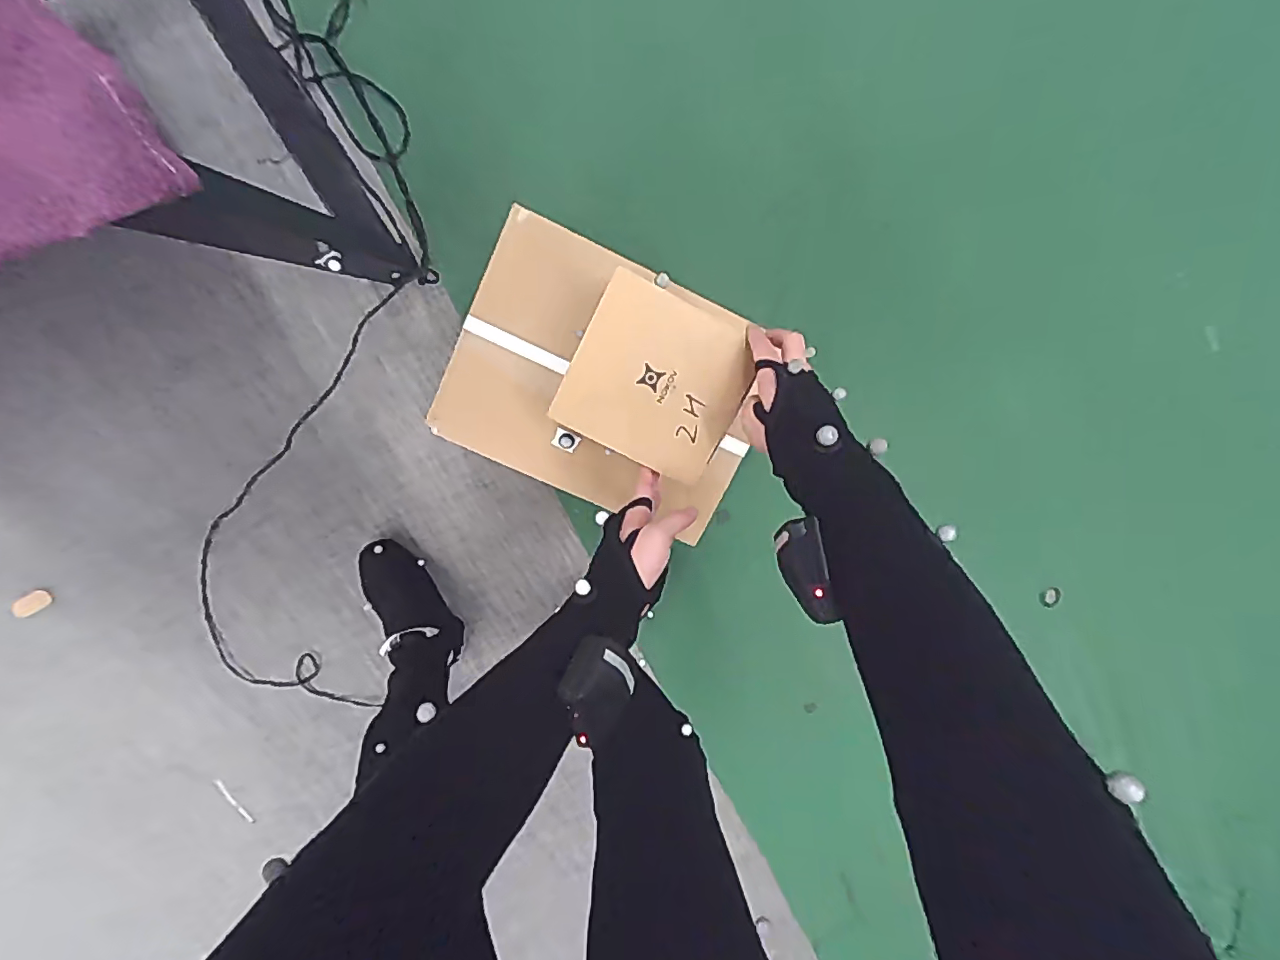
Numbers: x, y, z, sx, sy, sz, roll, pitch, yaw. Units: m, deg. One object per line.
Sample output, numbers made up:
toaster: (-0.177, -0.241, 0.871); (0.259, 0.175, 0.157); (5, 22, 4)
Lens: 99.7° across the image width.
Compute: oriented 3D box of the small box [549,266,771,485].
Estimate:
small box: (0.017, -0.119, 0.624); (0.179, 0.176, 0.168); (27, 103, -8)
